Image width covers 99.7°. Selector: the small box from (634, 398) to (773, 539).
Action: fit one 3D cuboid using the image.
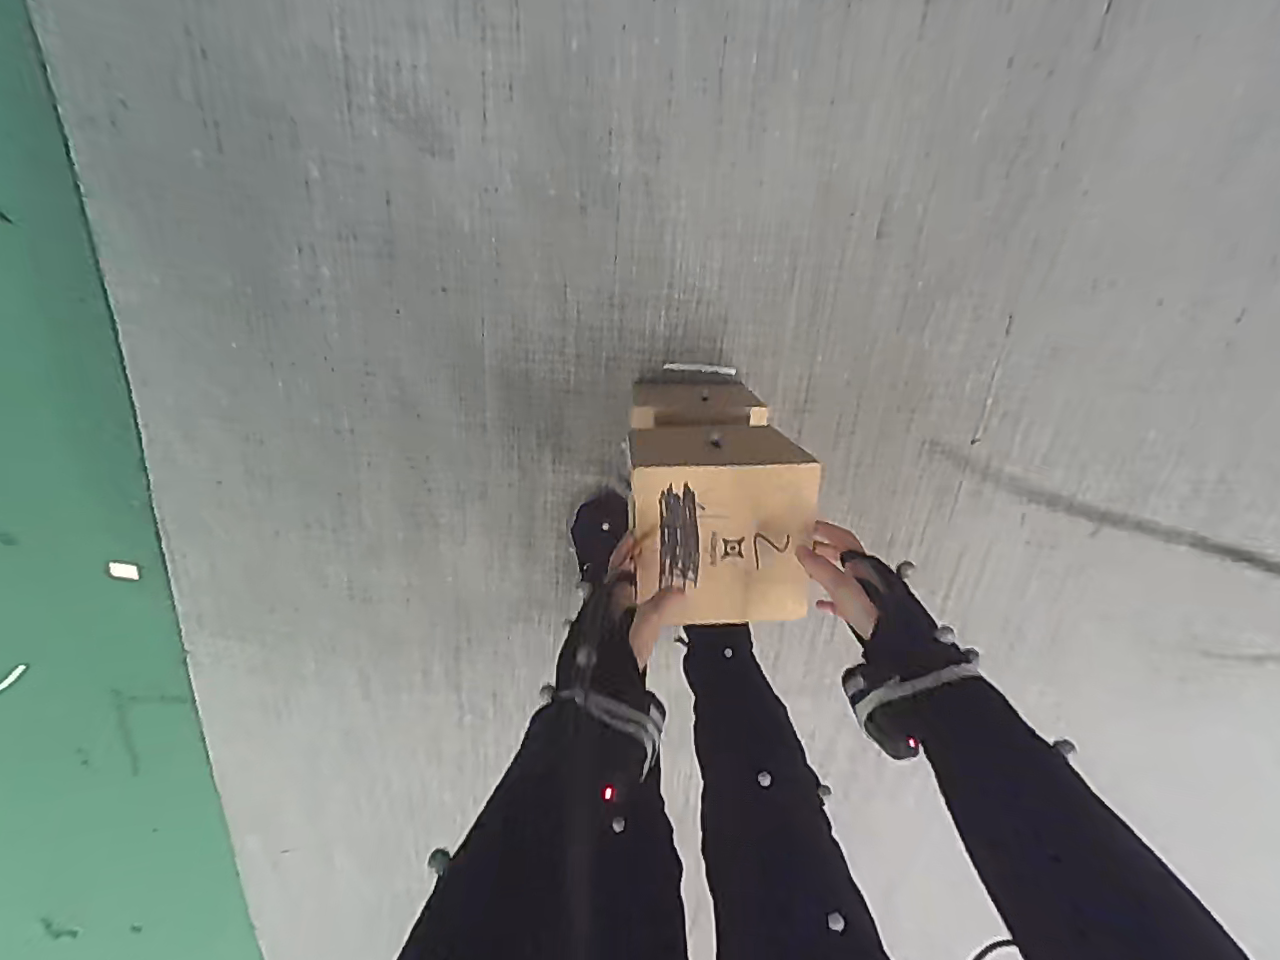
[{"bbox_3d":[0.081,-0.024,0.784,0.179,0.176,0.168,0,109,0],"label":"small box"}]
